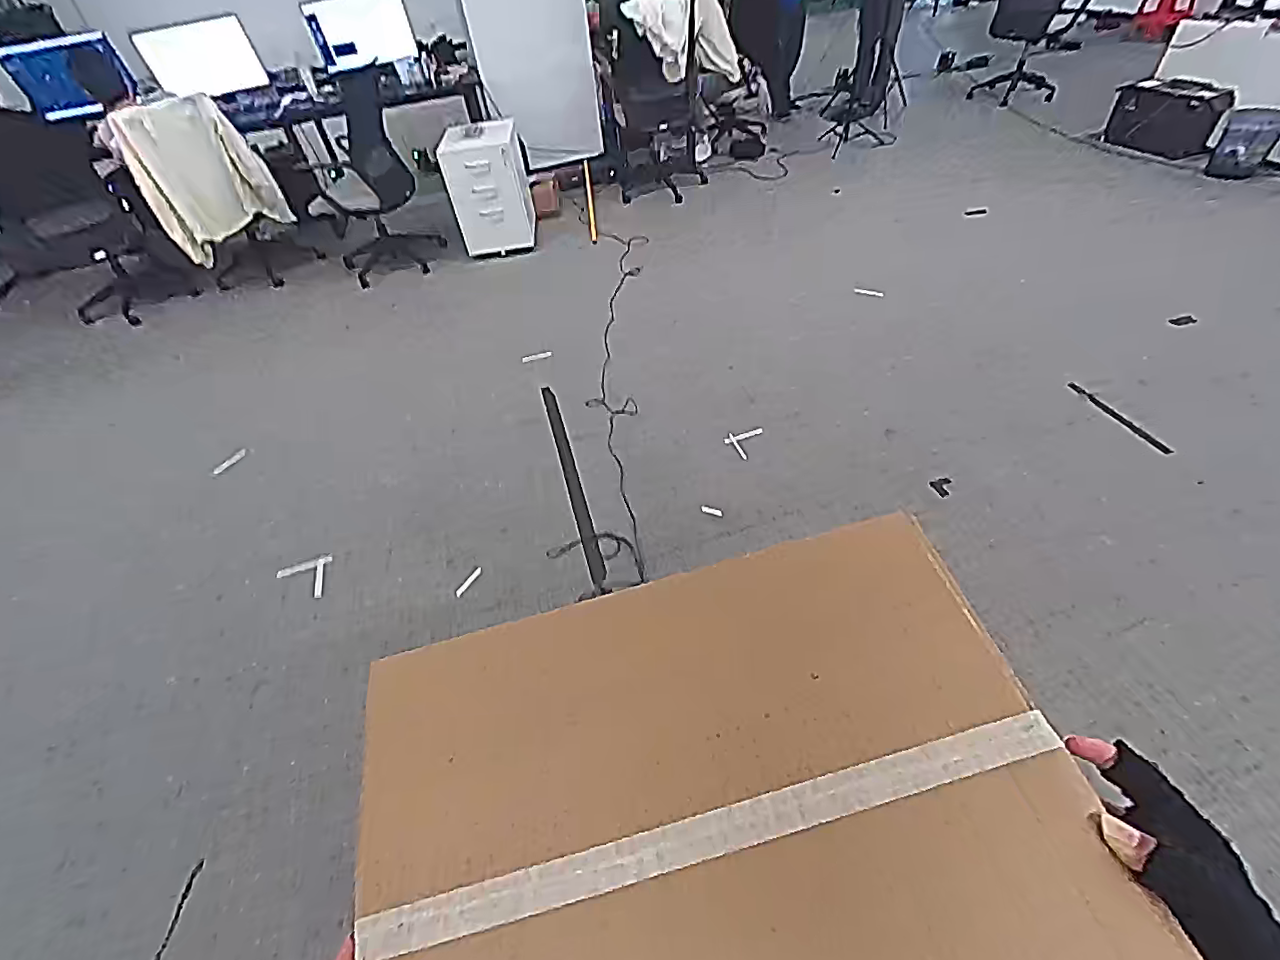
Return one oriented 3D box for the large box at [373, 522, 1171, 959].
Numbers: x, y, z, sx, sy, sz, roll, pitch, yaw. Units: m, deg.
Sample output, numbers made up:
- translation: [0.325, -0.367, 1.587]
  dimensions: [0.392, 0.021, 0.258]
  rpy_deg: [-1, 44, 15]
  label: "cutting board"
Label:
- translation: [0.060, 0.287, 0.436]
  dimensions: [0.408, 0.320, 0.320]
  rpy_deg: [-16, 54, -2]
  label: "large box"
